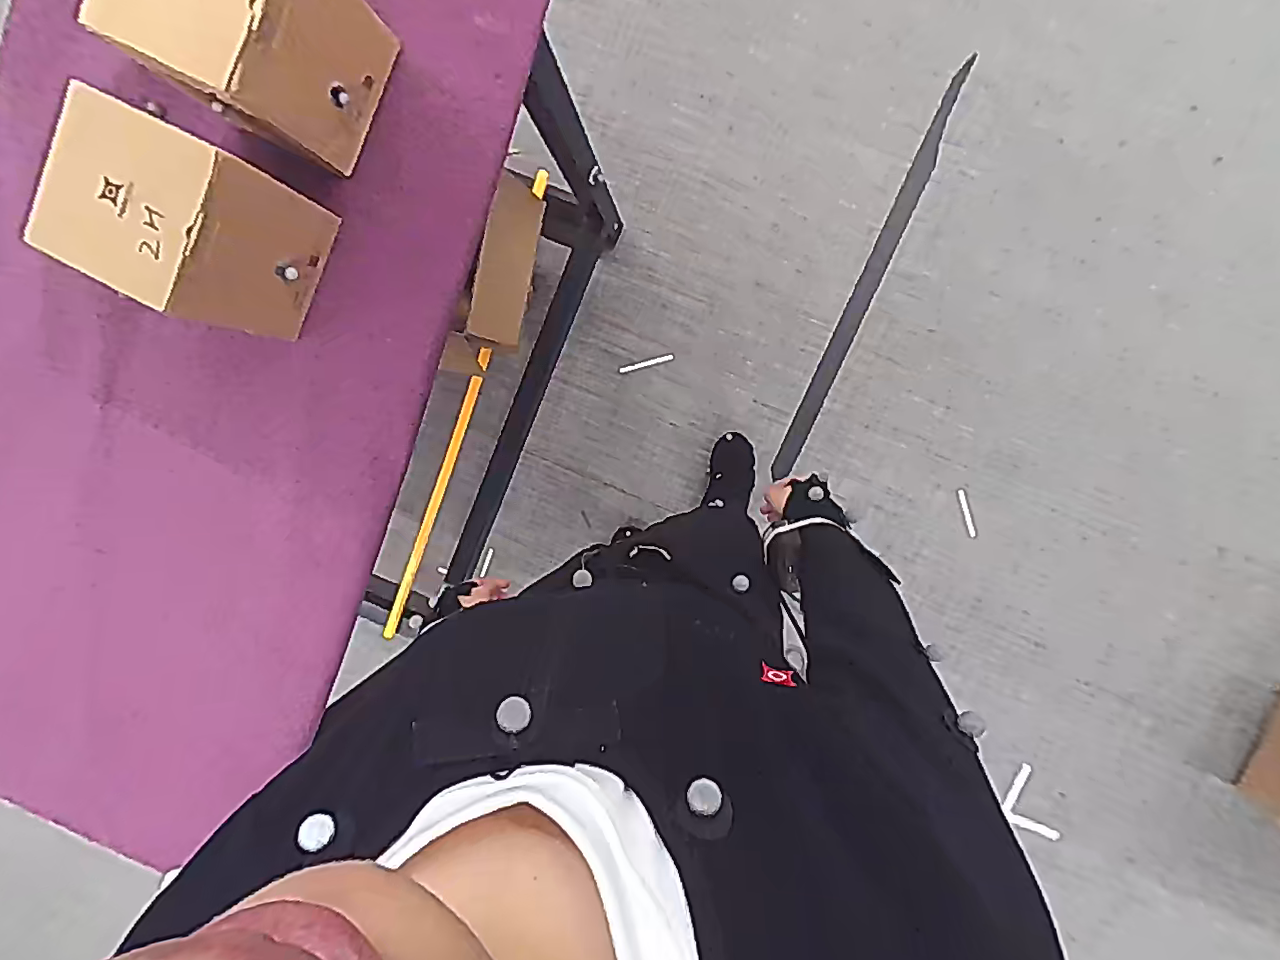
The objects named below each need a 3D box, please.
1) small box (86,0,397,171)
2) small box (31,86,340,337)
[{"bbox_3d":[-0.403,-0.469,0.574,0.179,0.176,0.168,27,98,5],"label":"small box"},{"bbox_3d":[-0.484,-0.276,0.600,0.179,0.176,0.168,27,98,5],"label":"small box"}]
